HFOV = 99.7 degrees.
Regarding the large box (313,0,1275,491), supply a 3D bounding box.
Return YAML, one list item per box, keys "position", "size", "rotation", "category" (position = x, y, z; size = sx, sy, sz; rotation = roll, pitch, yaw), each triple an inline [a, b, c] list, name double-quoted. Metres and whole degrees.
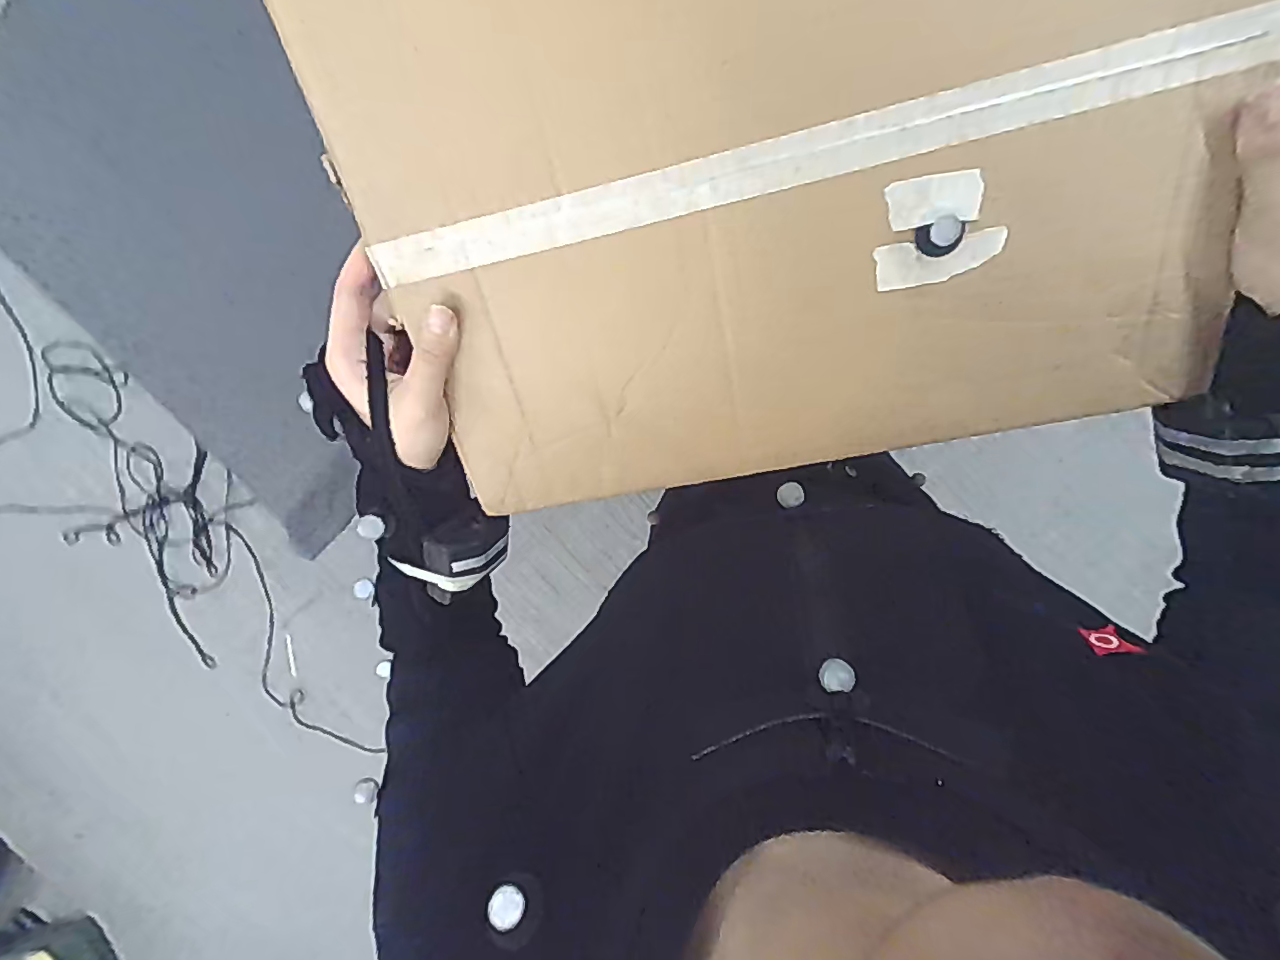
- position: [0.076, -0.228, 0.387]
  size: [0.408, 0.320, 0.320]
  rotation: [-11, 117, 8]
  category: "large box"
